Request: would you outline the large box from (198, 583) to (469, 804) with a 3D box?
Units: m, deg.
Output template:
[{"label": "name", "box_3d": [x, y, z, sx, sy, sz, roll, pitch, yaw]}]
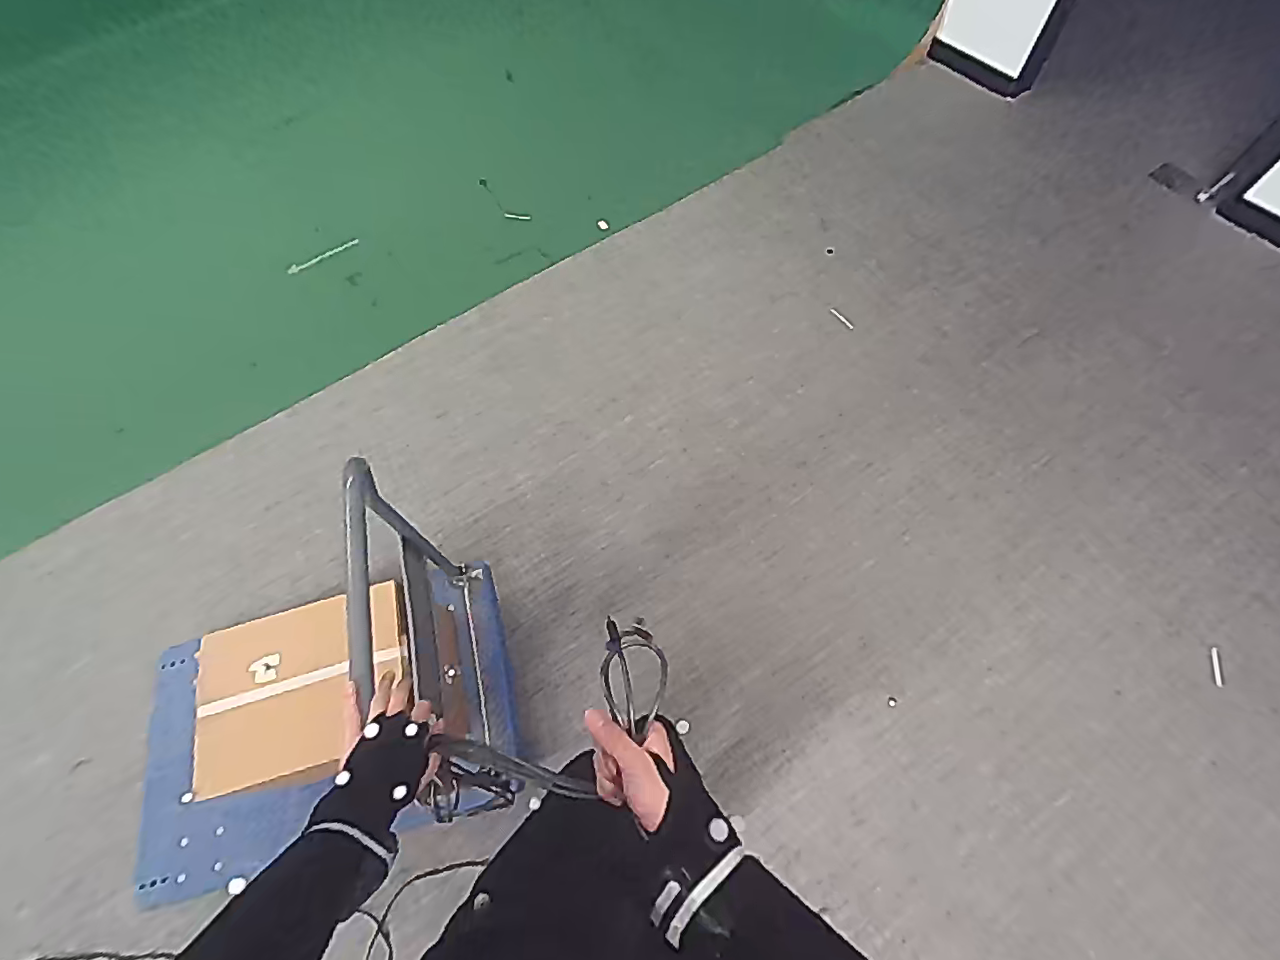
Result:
[{"label": "large box", "box_3d": [-0.641, 0.459, 1.185, 0.408, 0.320, 0.320, -16, 65, -2]}]
